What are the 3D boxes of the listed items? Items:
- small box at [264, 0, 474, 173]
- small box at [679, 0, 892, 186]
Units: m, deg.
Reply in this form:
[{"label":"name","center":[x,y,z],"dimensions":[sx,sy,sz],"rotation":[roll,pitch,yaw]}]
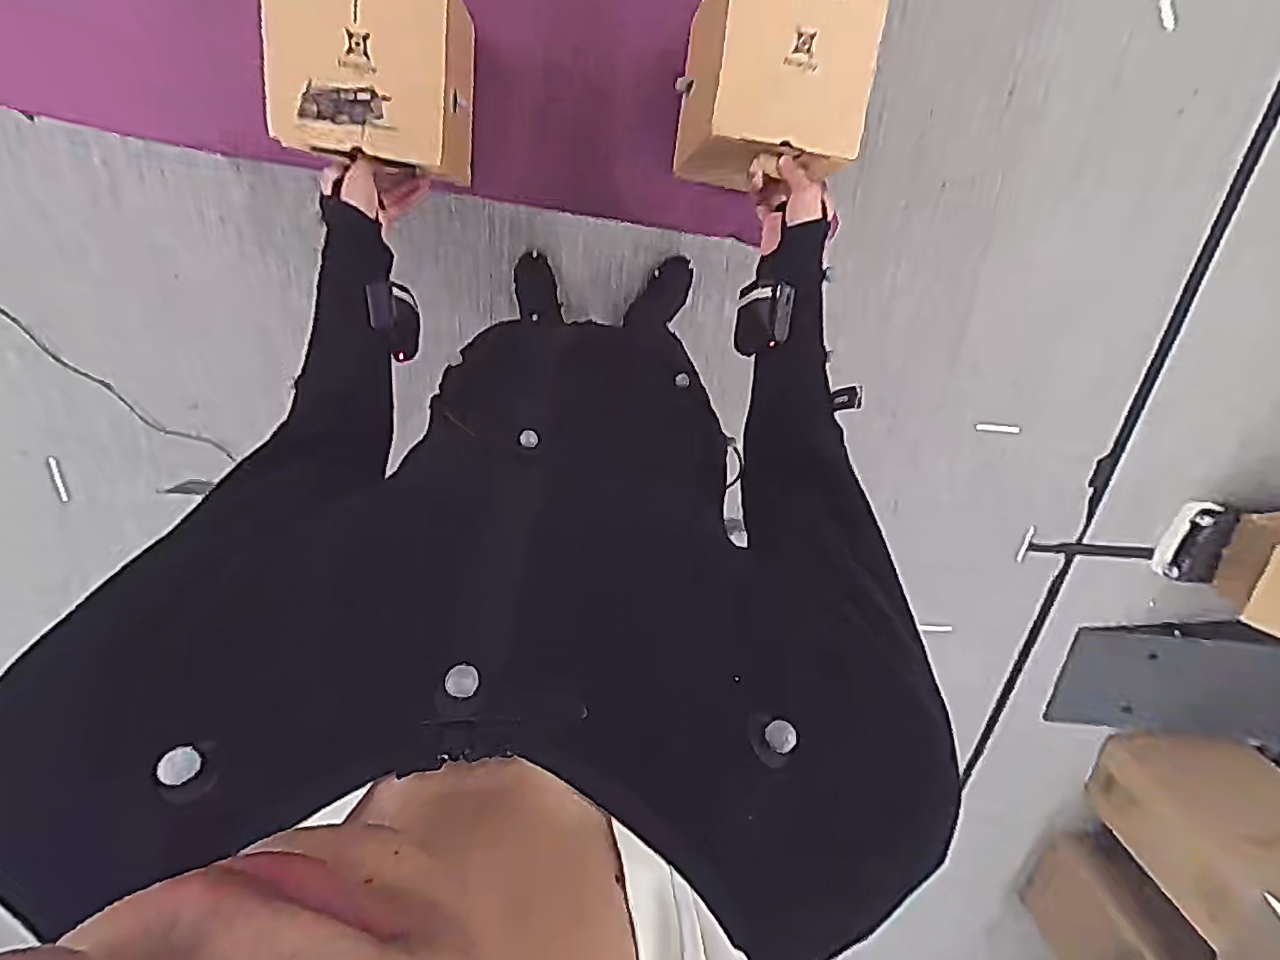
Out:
[{"label":"small box","center":[-0.281,-0.454,0.594],"dimensions":[0.168,0.176,0.179],"rotation":[5,113,-10]},{"label":"small box","center":[0.148,-0.453,0.609],"dimensions":[0.168,0.176,0.179],"rotation":[5,105,-12]}]
